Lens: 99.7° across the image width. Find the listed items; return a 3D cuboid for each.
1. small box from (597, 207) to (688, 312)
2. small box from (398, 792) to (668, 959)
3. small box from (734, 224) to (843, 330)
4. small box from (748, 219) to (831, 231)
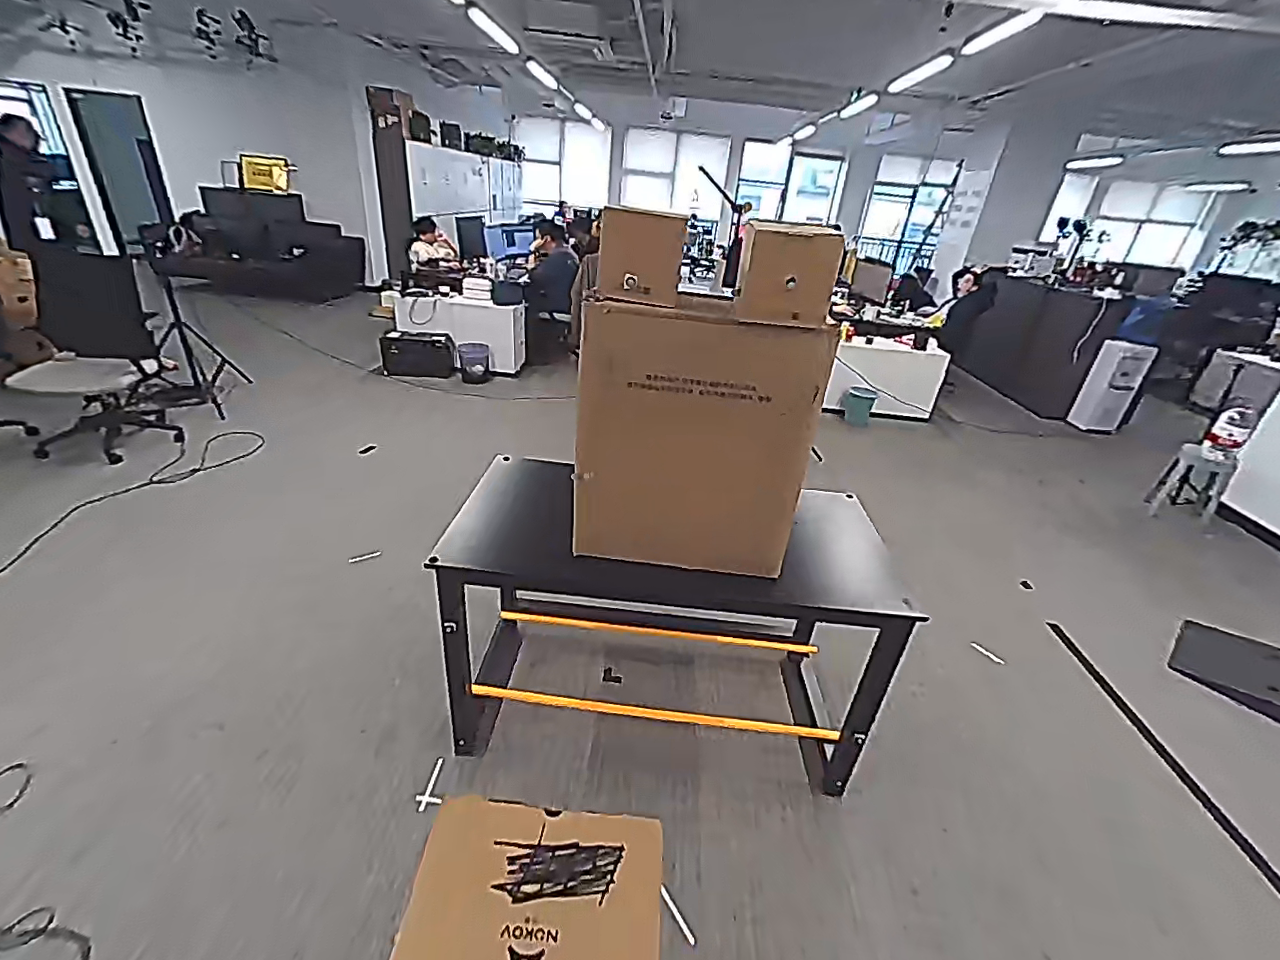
[{"bbox_3d":[0.006,-0.460,1.122,0.168,0.176,0.179,7,29,0],"label":"small box"},{"bbox_3d":[-0.075,0.360,0.382,0.168,0.176,0.179,7,33,-1],"label":"small box"},{"bbox_3d":[0.284,-0.404,1.074,0.168,0.176,0.179,5,30,2],"label":"small box"},{"bbox_3d":[0.332,-0.515,1.280,0.168,0.176,0.179,5,25,1],"label":"small box"}]
